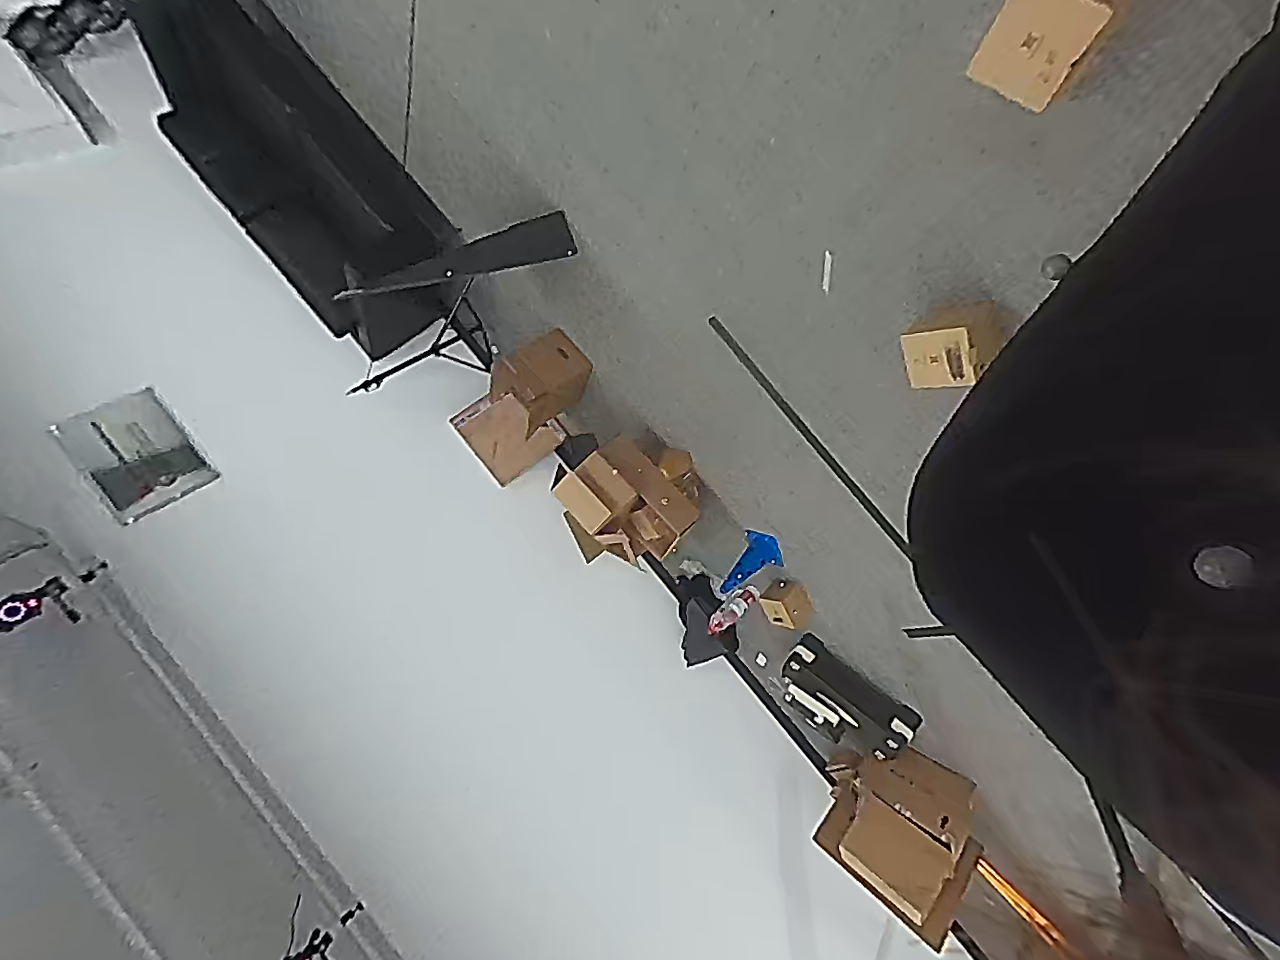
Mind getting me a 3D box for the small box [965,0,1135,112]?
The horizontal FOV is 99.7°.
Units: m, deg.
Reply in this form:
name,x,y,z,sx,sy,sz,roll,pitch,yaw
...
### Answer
name,x,y,z,sx,sy,sz,roll,pitch,yaw
small box,0.782,-0.850,1.038,0.179,0.176,0.168,43,151,15
